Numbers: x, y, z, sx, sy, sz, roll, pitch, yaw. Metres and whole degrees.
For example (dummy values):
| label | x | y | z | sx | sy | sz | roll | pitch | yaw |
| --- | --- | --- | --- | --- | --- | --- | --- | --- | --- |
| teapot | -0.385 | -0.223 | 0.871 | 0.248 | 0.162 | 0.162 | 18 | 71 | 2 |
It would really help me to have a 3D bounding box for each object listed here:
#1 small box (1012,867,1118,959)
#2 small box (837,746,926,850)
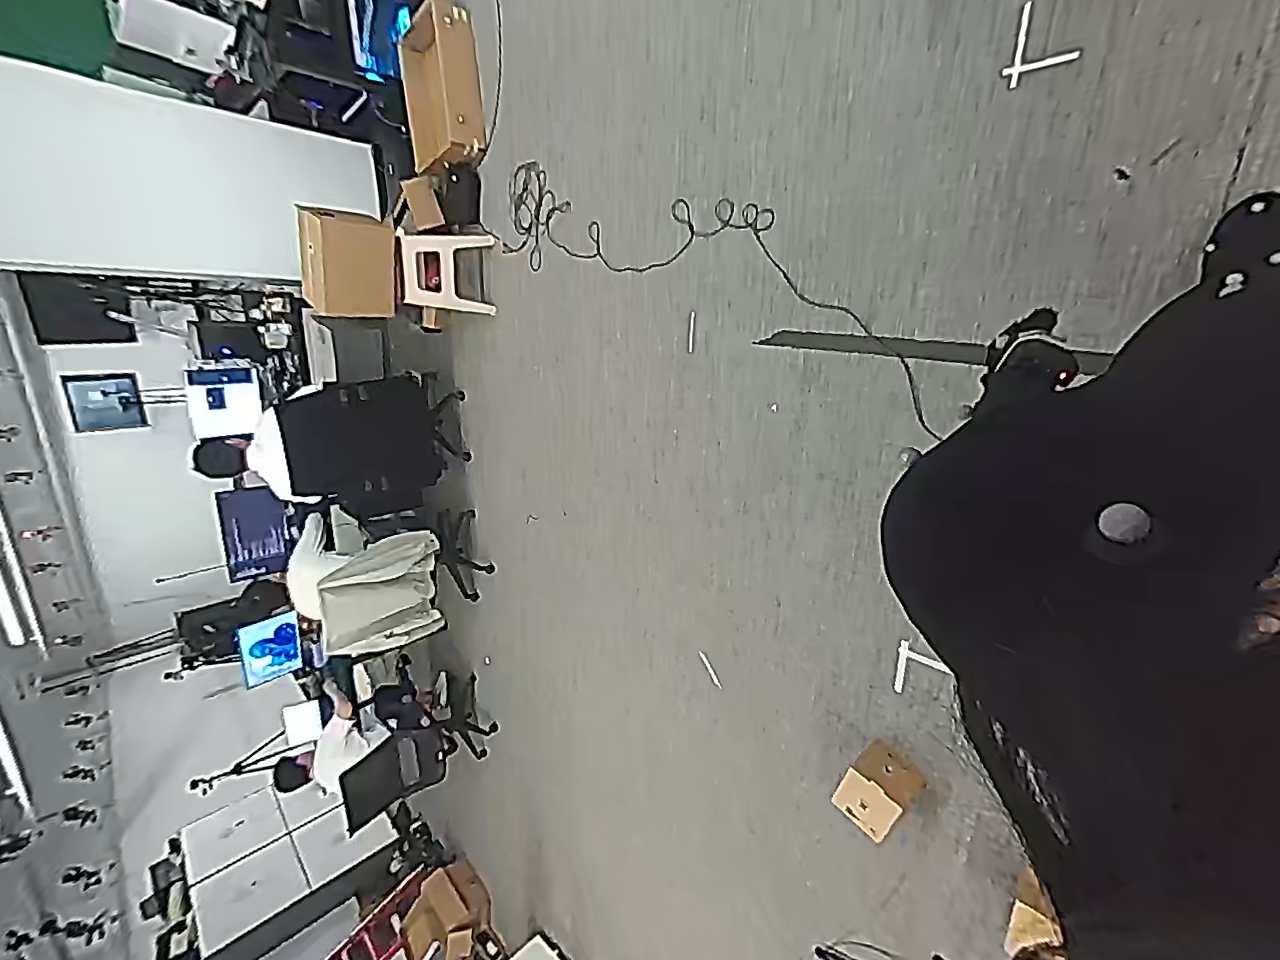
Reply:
| label | x | y | z | sx | sy | sz | roll | pitch | yaw |
| --- | --- | --- | --- | --- | --- | --- | --- | --- | --- |
| small box | 1.052 | 1.126 | 1.337 | 0.168 | 0.176 | 0.179 | 16 | 111 | 44 |
| small box | 0.734 | 0.949 | 1.632 | 0.168 | 0.176 | 0.179 | 35 | 123 | 37 |
